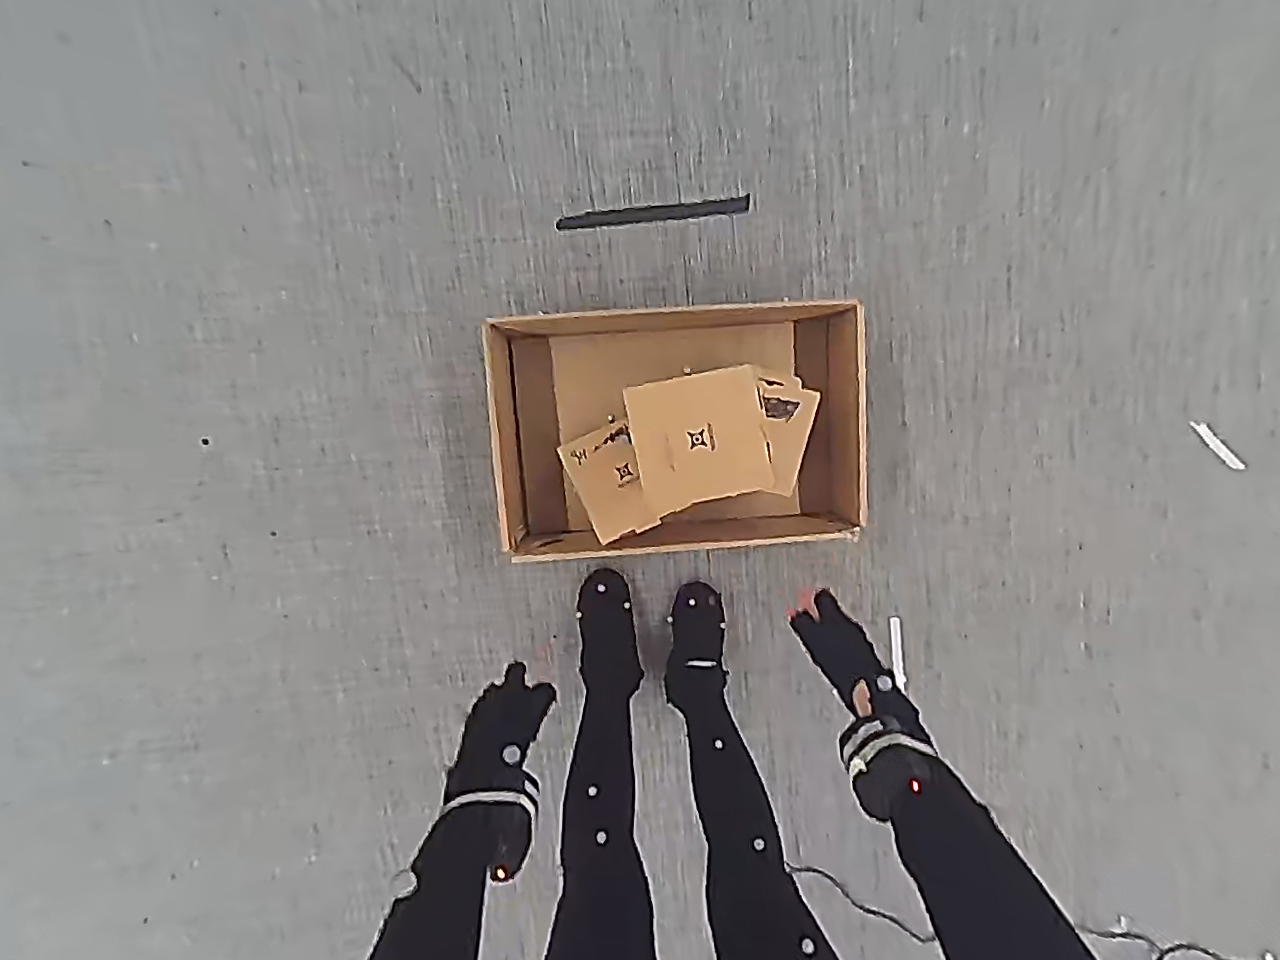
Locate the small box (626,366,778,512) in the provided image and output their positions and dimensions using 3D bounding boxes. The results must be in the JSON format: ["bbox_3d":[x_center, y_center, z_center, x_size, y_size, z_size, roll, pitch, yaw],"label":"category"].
[{"bbox_3d":[0.079,-0.061,0.778,0.179,0.176,0.168,-12,96,0],"label":"small box"}]
